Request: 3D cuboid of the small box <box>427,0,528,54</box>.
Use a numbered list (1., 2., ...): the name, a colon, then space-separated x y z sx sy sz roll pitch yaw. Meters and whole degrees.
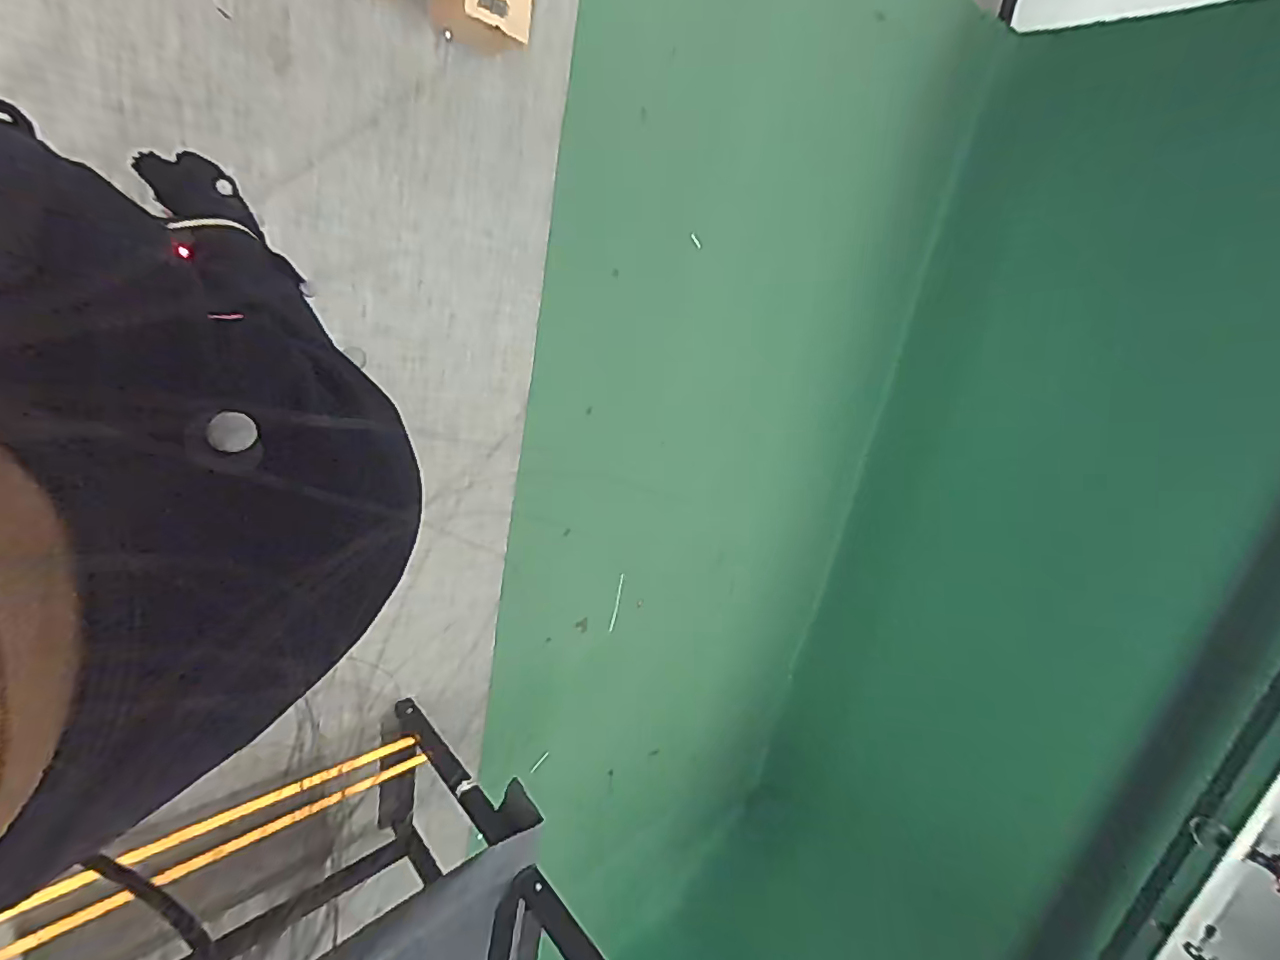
1. small box: -0.373 -1.121 1.243 0.168 0.176 0.179 -9 116 -46
